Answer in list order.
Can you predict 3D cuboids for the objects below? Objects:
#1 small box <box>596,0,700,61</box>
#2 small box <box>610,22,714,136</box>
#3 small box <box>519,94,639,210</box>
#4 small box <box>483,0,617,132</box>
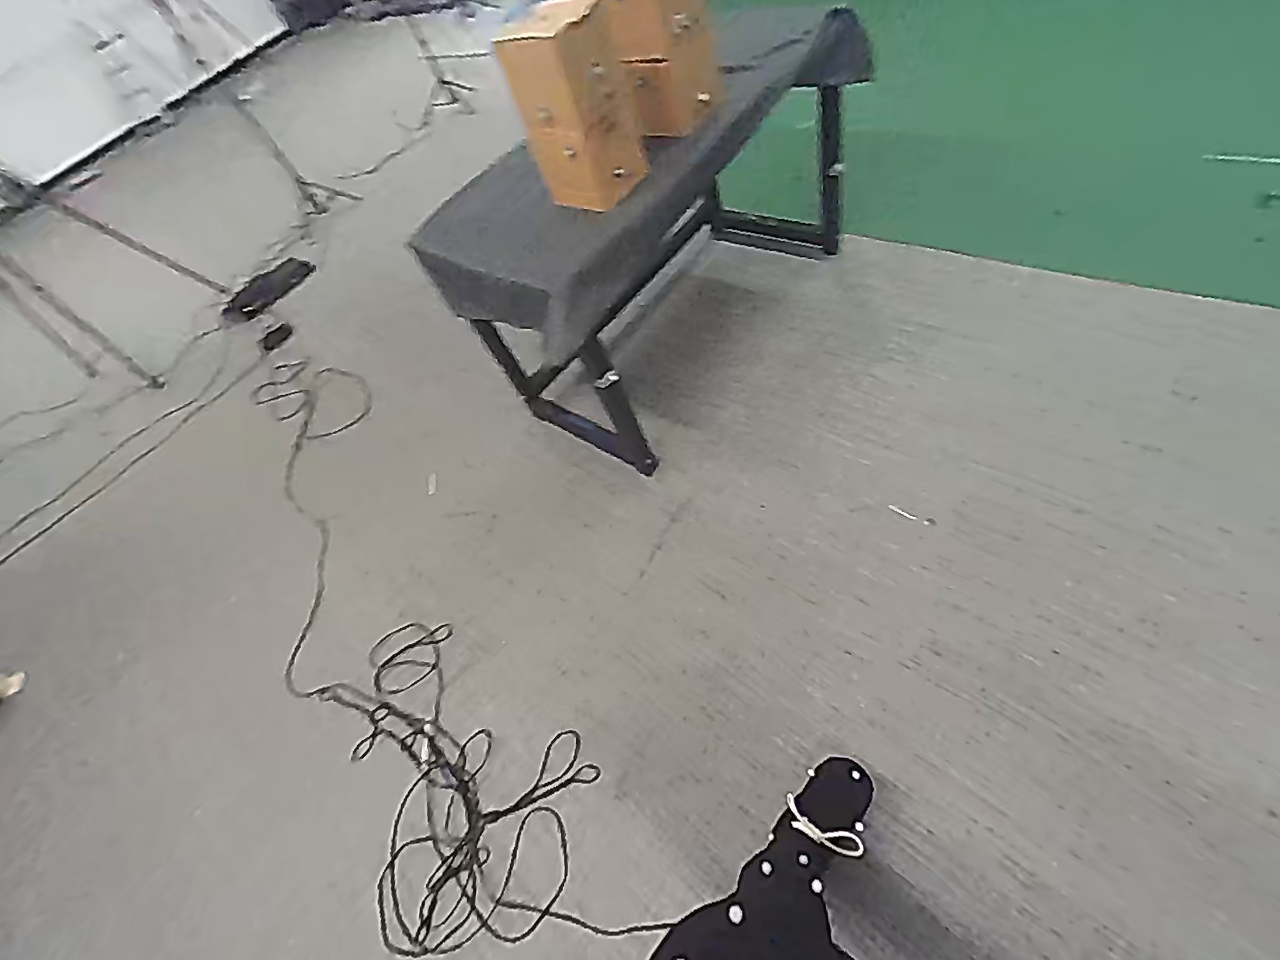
[{"bbox_3d":[0.005,-1.040,1.168,0.179,0.176,0.168,28,72,32],"label":"small box"},{"bbox_3d":[0.054,-0.956,1.298,0.179,0.176,0.168,27,70,32],"label":"small box"},{"bbox_3d":[-0.131,-0.734,1.216,0.179,0.176,0.168,25,68,31],"label":"small box"},{"bbox_3d":[-0.171,-0.826,1.086,0.179,0.176,0.168,24,67,30],"label":"small box"}]
